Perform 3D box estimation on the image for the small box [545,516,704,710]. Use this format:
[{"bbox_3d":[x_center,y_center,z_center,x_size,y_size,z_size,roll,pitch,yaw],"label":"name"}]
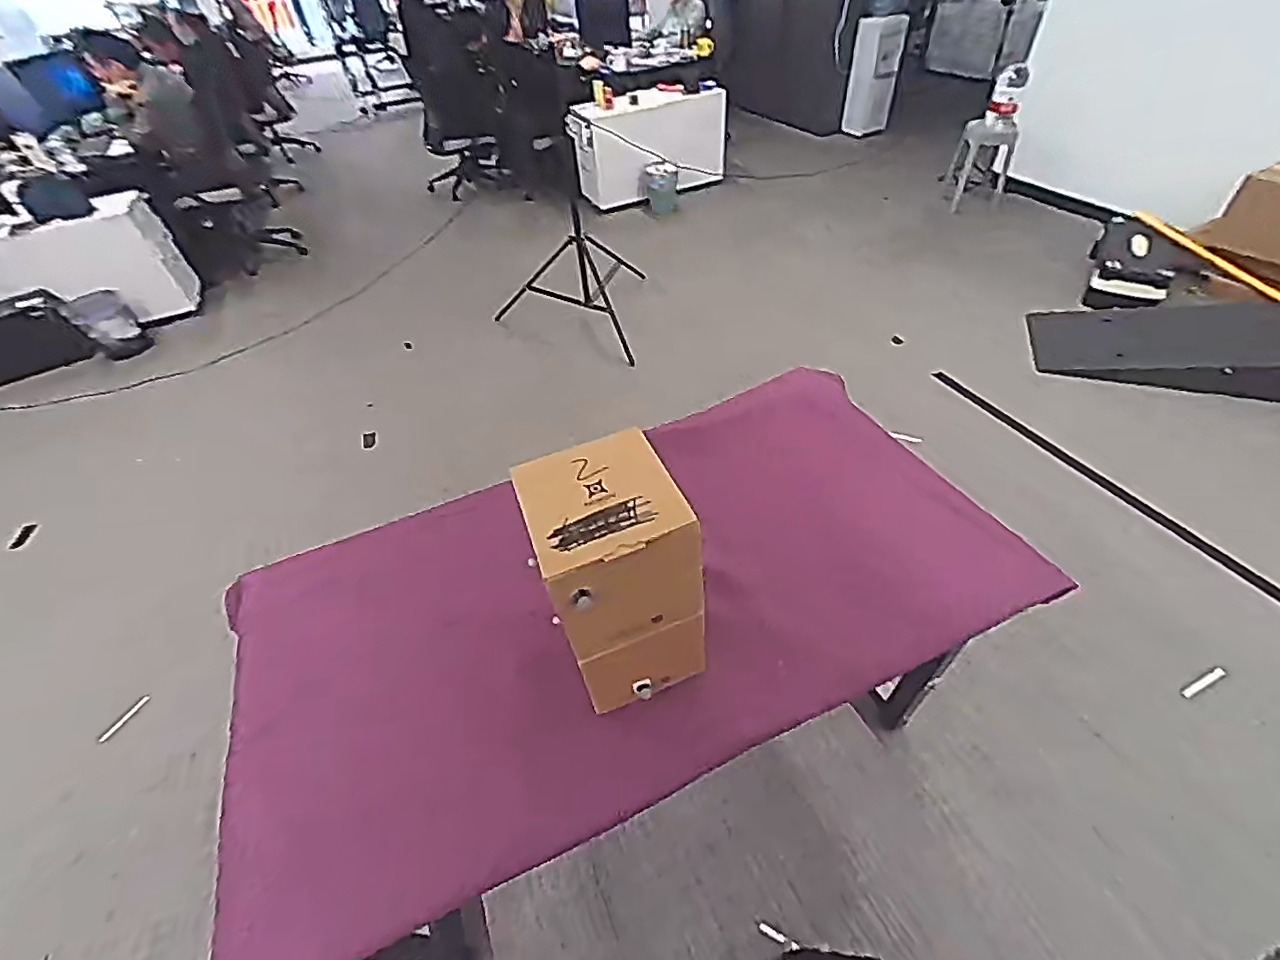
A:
[{"bbox_3d":[-0.021,0.186,0.761,0.168,0.176,0.179,-20,48,-12],"label":"small box"}]
